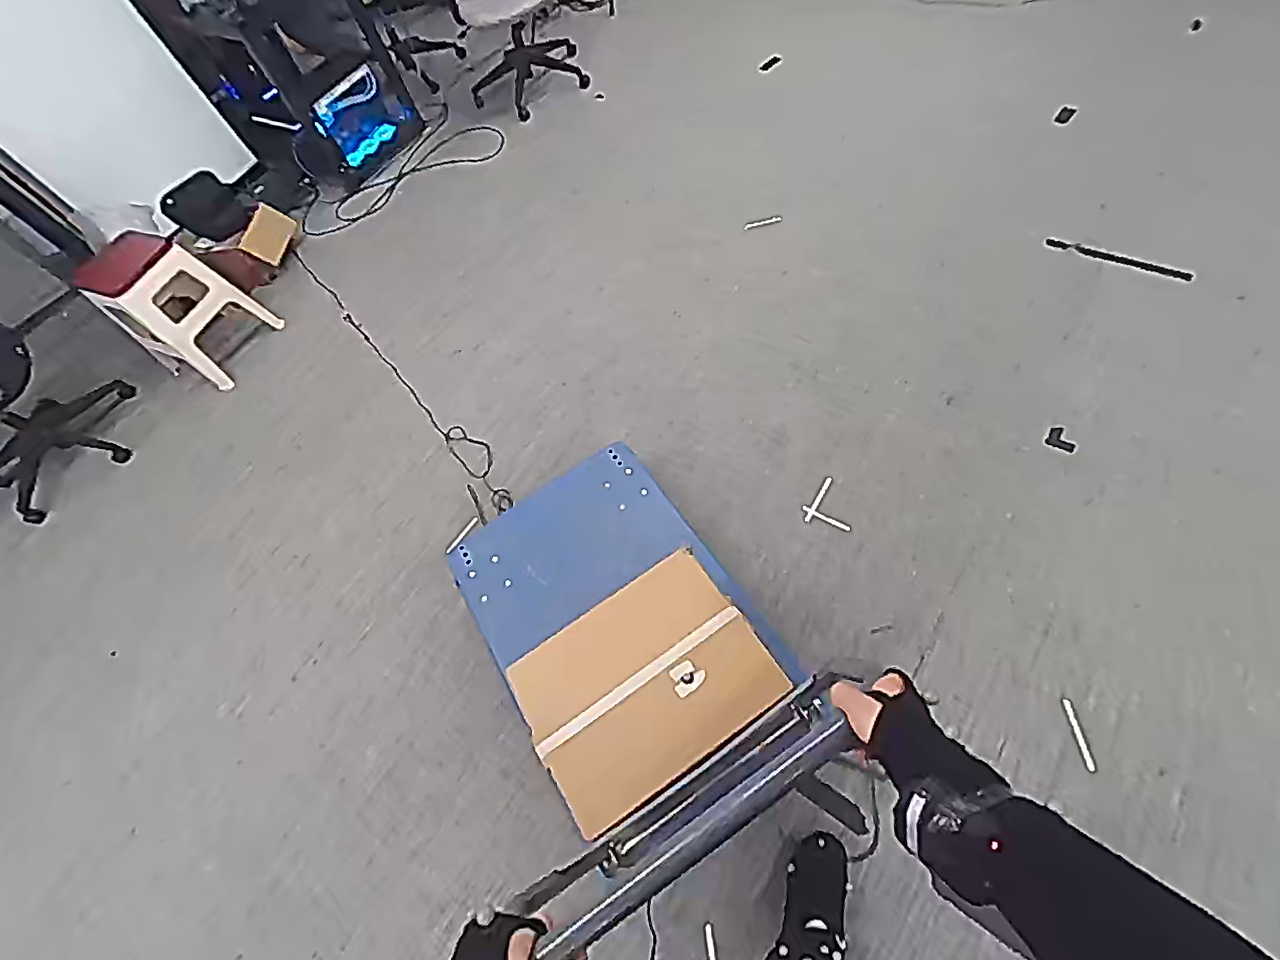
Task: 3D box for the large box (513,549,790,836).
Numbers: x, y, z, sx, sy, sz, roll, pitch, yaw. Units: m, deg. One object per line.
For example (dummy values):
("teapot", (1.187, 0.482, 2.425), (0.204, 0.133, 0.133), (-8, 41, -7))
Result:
("large box", (0.033, 0.416, 1.064), (0.408, 0.320, 0.320), (-33, 61, -8))
